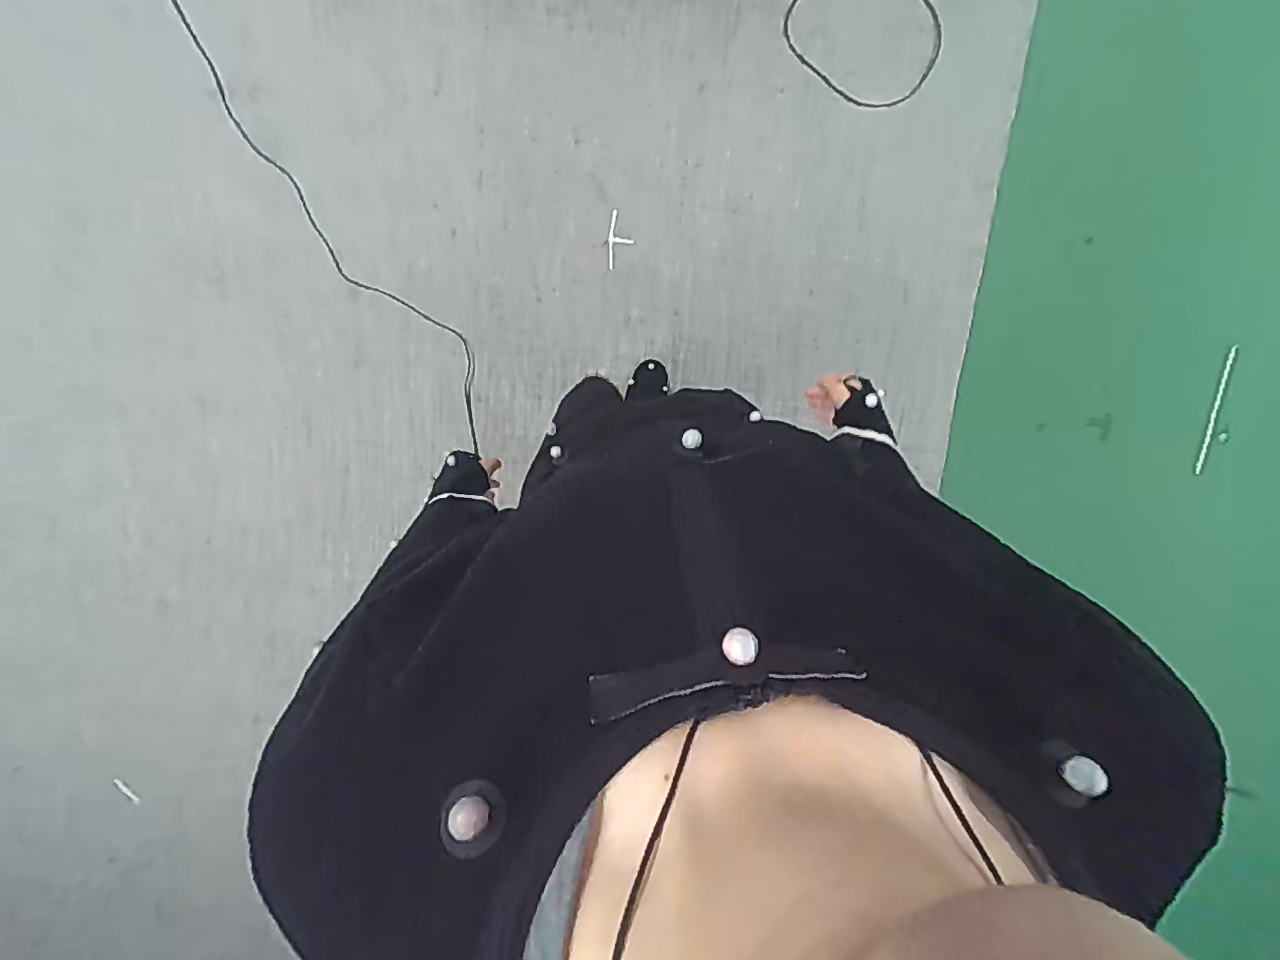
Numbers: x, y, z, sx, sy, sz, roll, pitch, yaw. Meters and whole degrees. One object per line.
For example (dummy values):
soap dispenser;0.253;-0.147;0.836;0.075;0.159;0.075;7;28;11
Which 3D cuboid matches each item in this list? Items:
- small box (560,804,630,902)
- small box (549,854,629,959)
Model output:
small box;-0.119;0.990;1.434;0.179;0.176;0.168;-1;100;-4
small box;-0.117;1.018;1.271;0.179;0.176;0.168;0;102;-4
